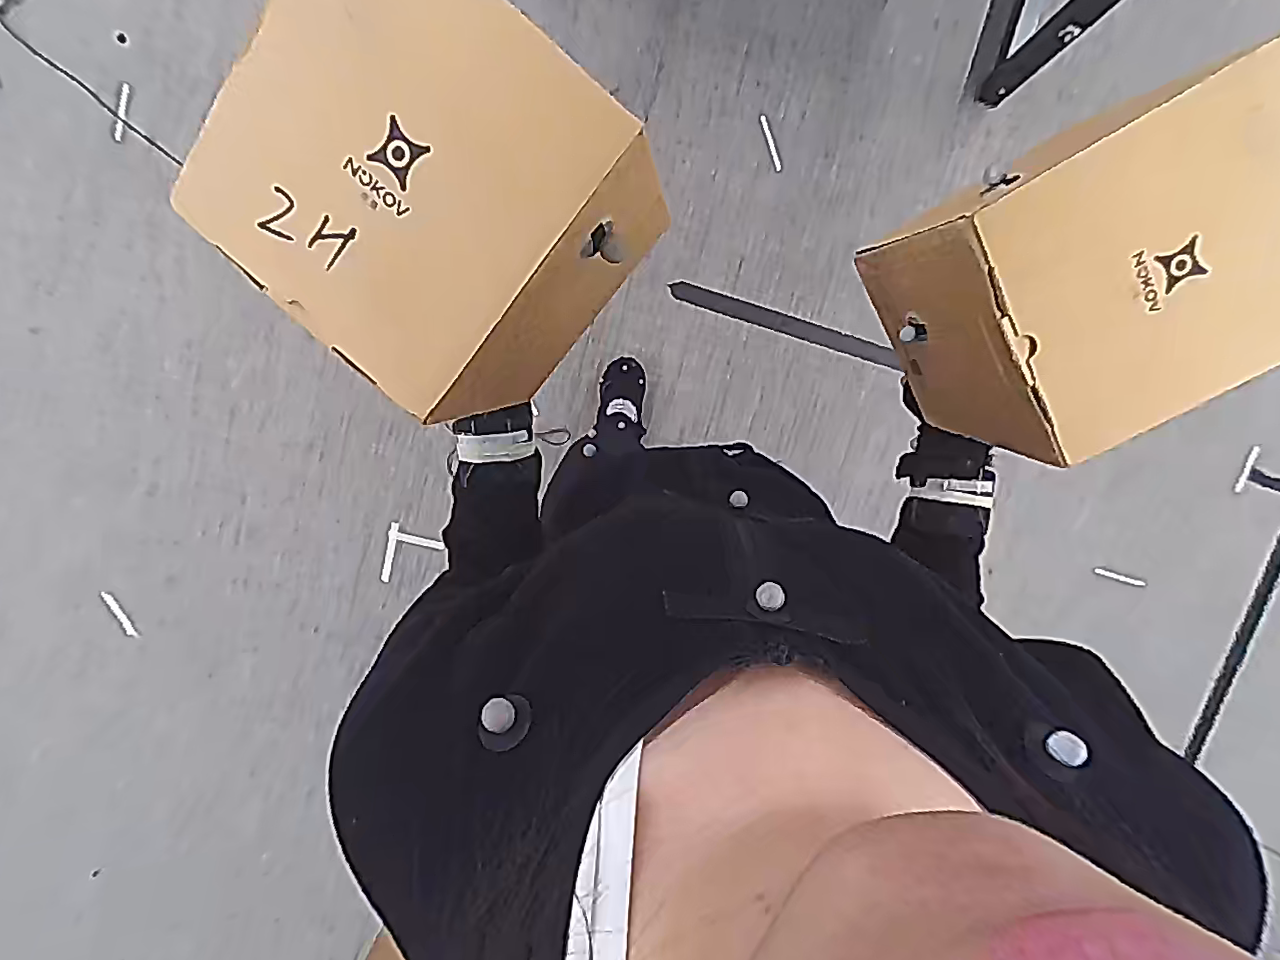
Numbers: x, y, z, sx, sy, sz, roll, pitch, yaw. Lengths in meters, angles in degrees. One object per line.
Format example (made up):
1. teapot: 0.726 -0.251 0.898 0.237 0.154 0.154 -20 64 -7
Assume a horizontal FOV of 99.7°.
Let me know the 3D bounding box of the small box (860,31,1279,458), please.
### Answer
1. small box: 0.291 -0.143 0.377 0.179 0.176 0.168 -30 104 9

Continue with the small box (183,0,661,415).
1. small box: -0.101 -0.165 0.327 0.168 0.176 0.179 41 105 -3
